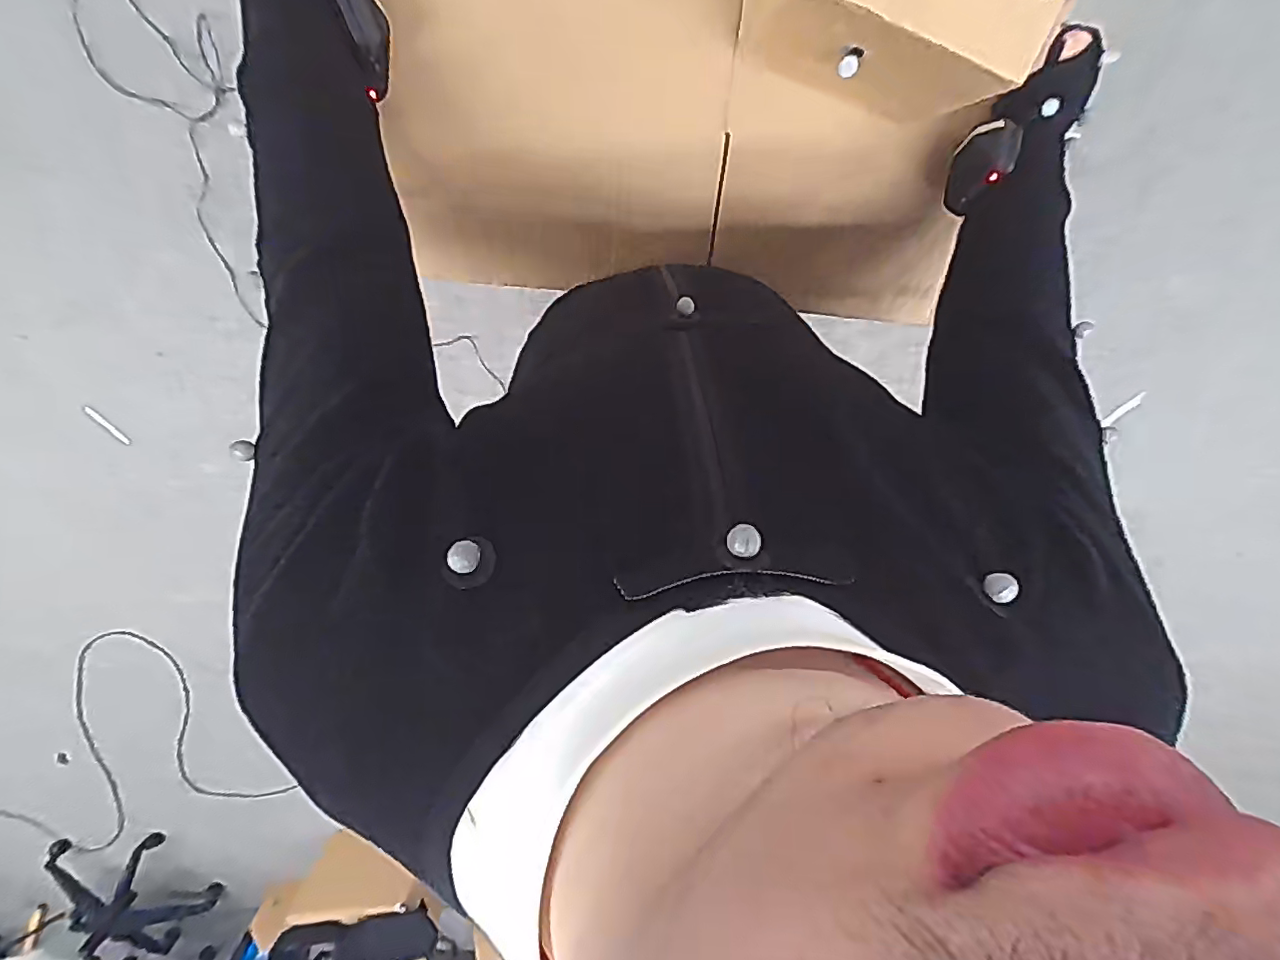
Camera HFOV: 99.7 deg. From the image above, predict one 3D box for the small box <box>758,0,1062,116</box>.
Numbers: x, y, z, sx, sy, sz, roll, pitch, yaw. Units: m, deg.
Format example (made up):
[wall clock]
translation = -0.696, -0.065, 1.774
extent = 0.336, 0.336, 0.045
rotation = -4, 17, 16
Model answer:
[small box]
translation = 0.209, -0.407, 0.408
extent = 0.179, 0.176, 0.168
rotation = 17, 113, -9
